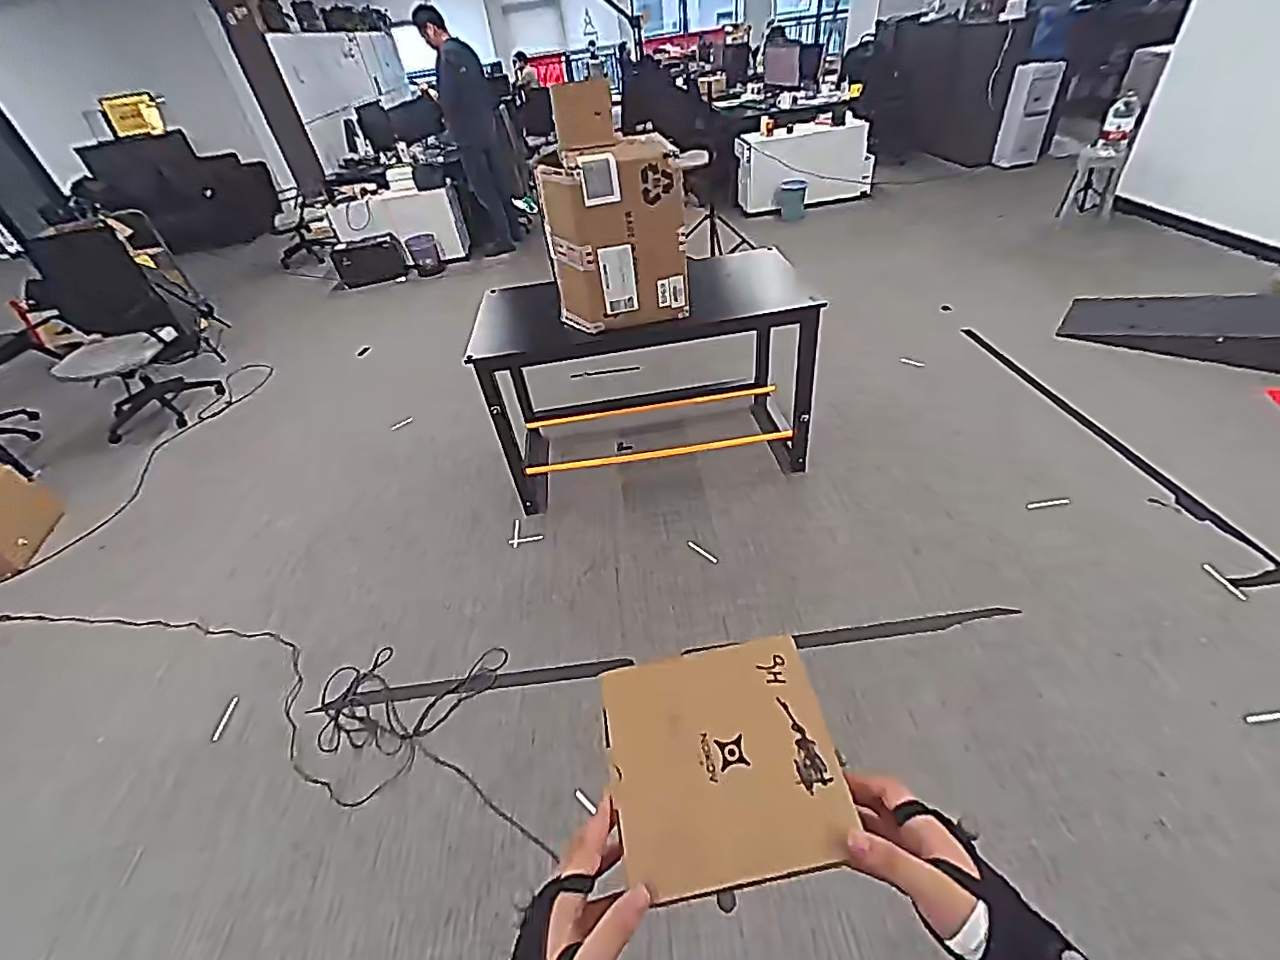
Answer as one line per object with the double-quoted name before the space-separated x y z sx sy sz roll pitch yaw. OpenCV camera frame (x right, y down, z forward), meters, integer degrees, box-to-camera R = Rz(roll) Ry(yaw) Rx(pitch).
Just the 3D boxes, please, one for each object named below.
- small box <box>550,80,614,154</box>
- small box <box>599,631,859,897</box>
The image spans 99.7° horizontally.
"small box" -0.179 -1.129 1.677 0.179 0.176 0.168 -10 37 -3
"small box" 0.068 0.262 0.494 0.179 0.176 0.168 -10 51 -3
